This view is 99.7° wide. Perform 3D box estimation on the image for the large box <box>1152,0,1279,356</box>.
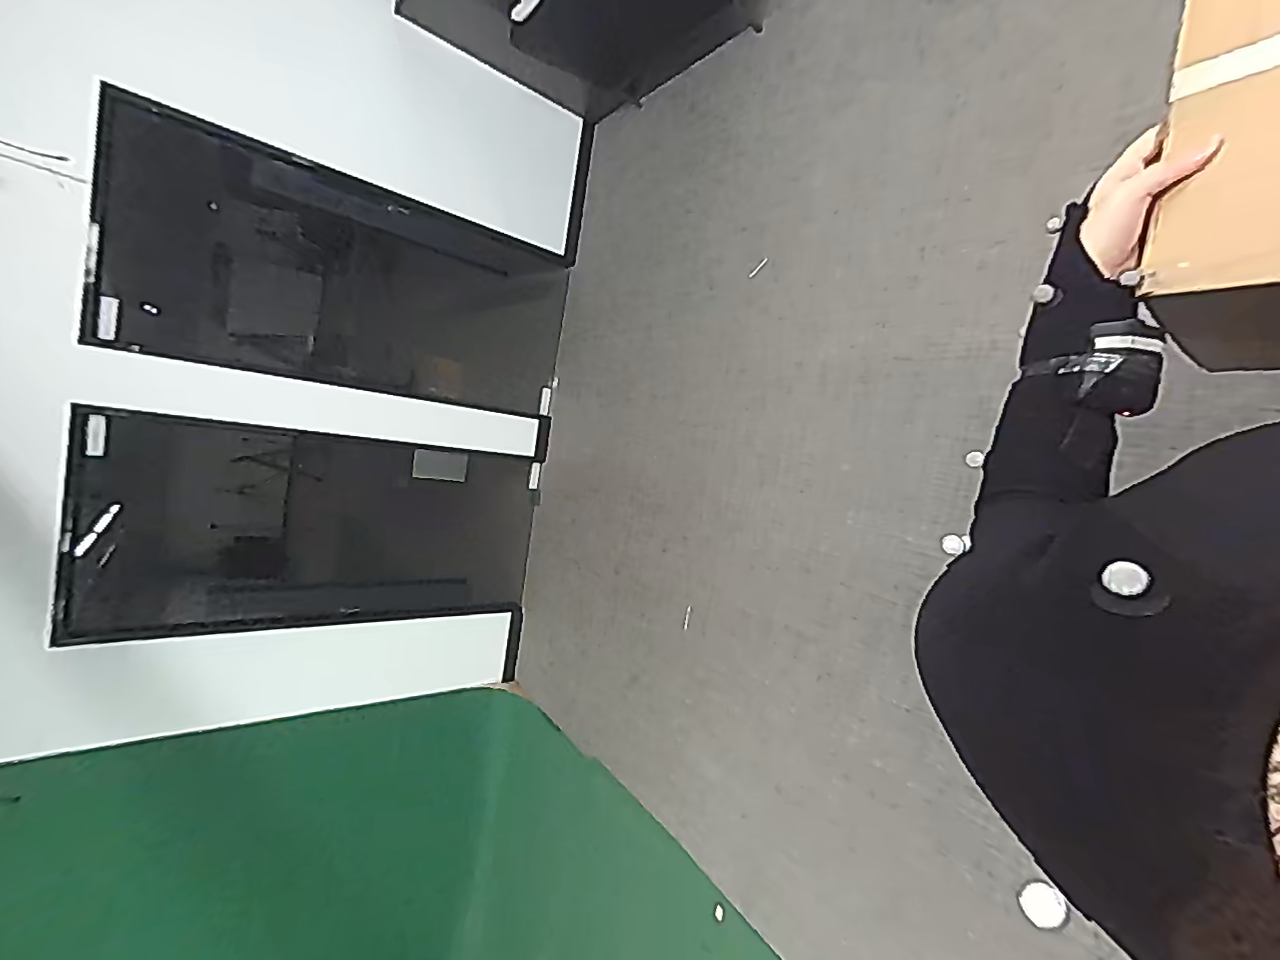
[{"bbox_3d":[0.655,-0.272,0.344,0.408,0.320,0.320,11,95,55],"label":"large box"}]
